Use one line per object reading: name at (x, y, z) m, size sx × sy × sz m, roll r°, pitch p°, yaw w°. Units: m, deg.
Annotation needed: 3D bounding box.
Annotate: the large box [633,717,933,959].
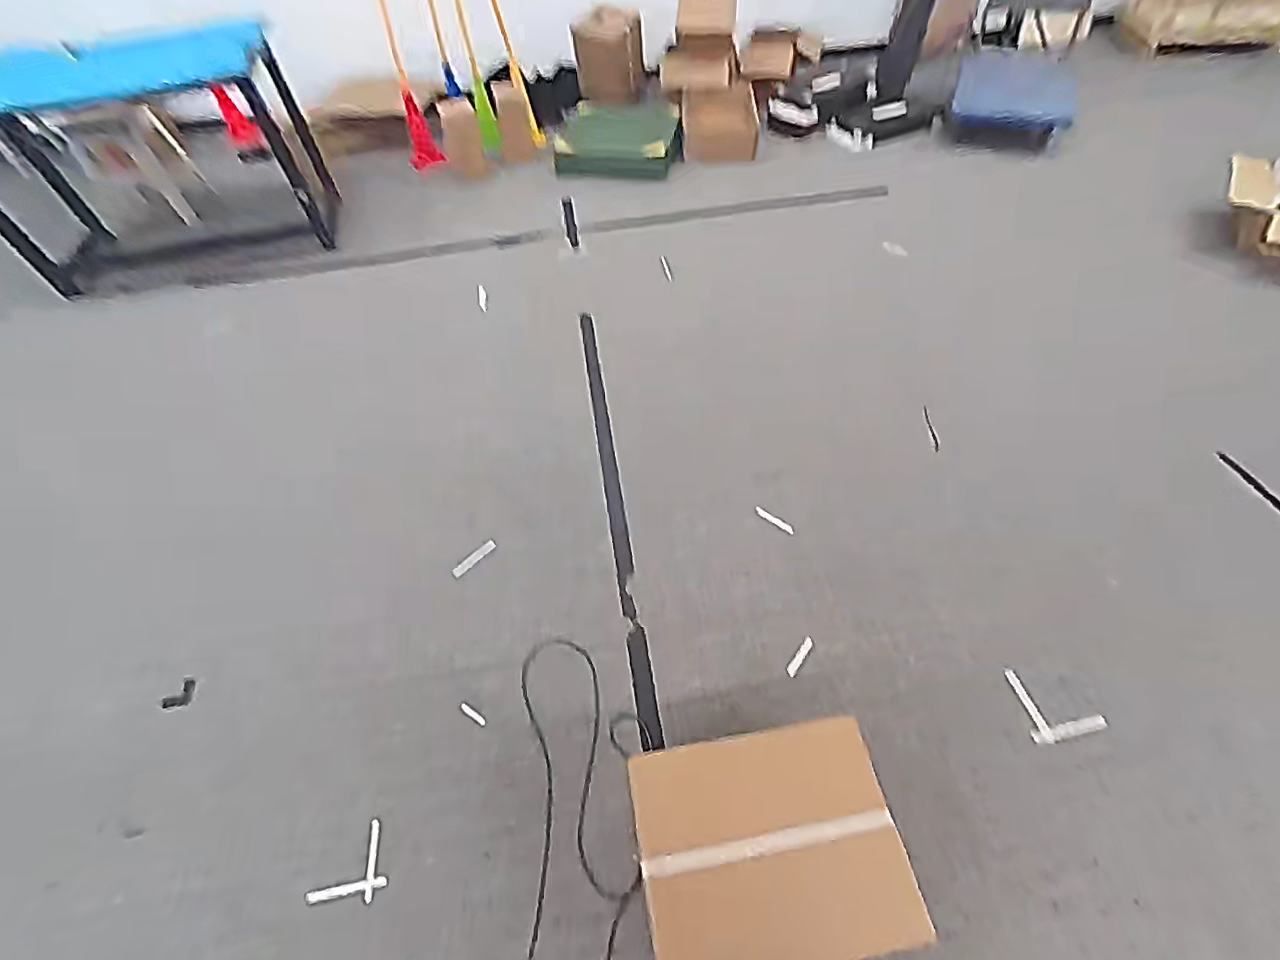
large box at (0.213, 0.657, 0.972) m, size 0.408 × 0.320 × 0.320 m, roll -9°, pitch 54°, yaw -4°
